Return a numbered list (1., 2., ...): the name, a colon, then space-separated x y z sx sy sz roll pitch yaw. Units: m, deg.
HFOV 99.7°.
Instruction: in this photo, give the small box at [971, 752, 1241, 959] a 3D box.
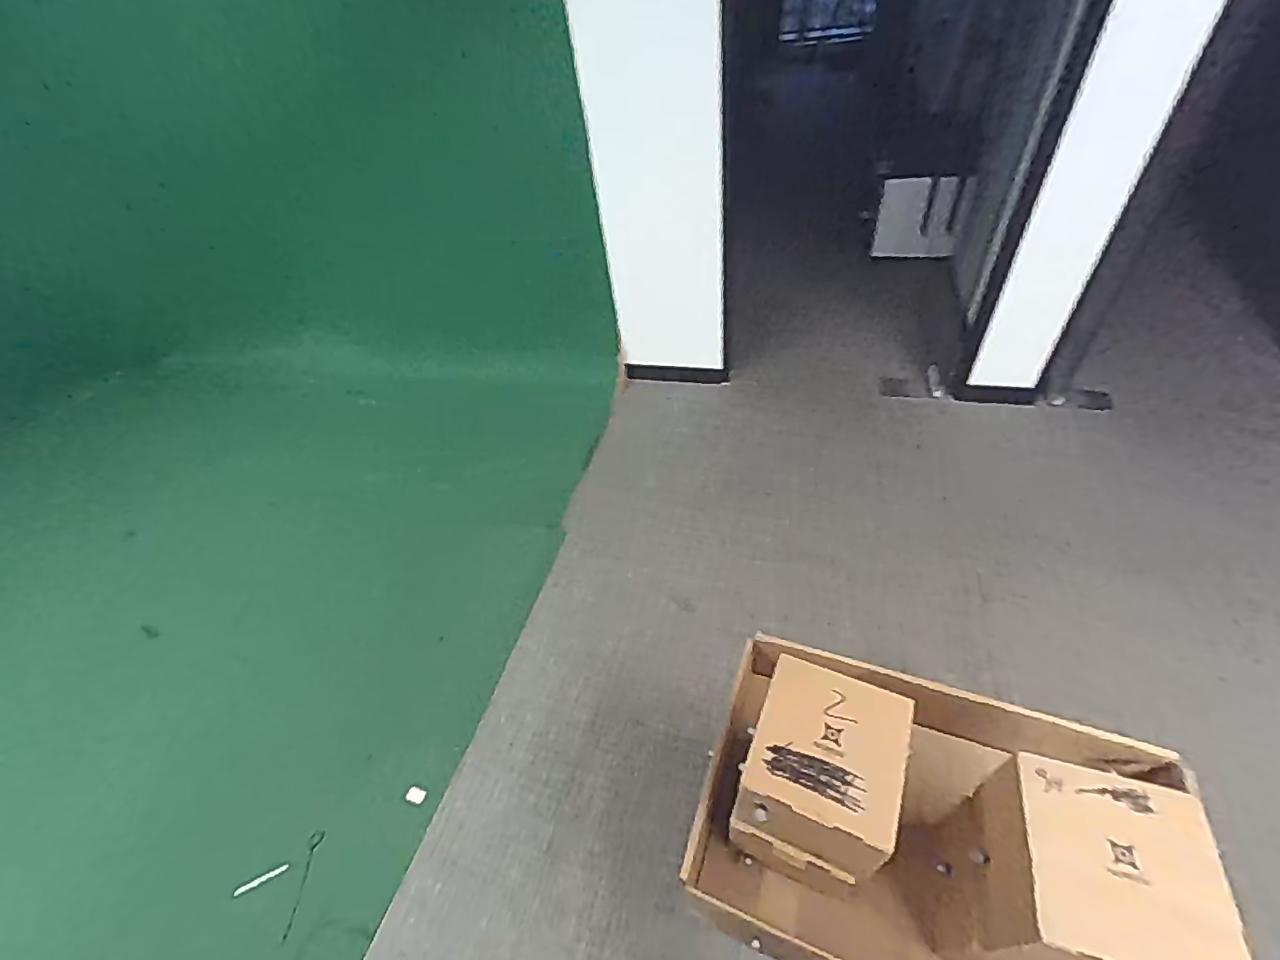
1. small box: 0.480 0.435 0.589 0.168 0.176 0.179 10 50 18
